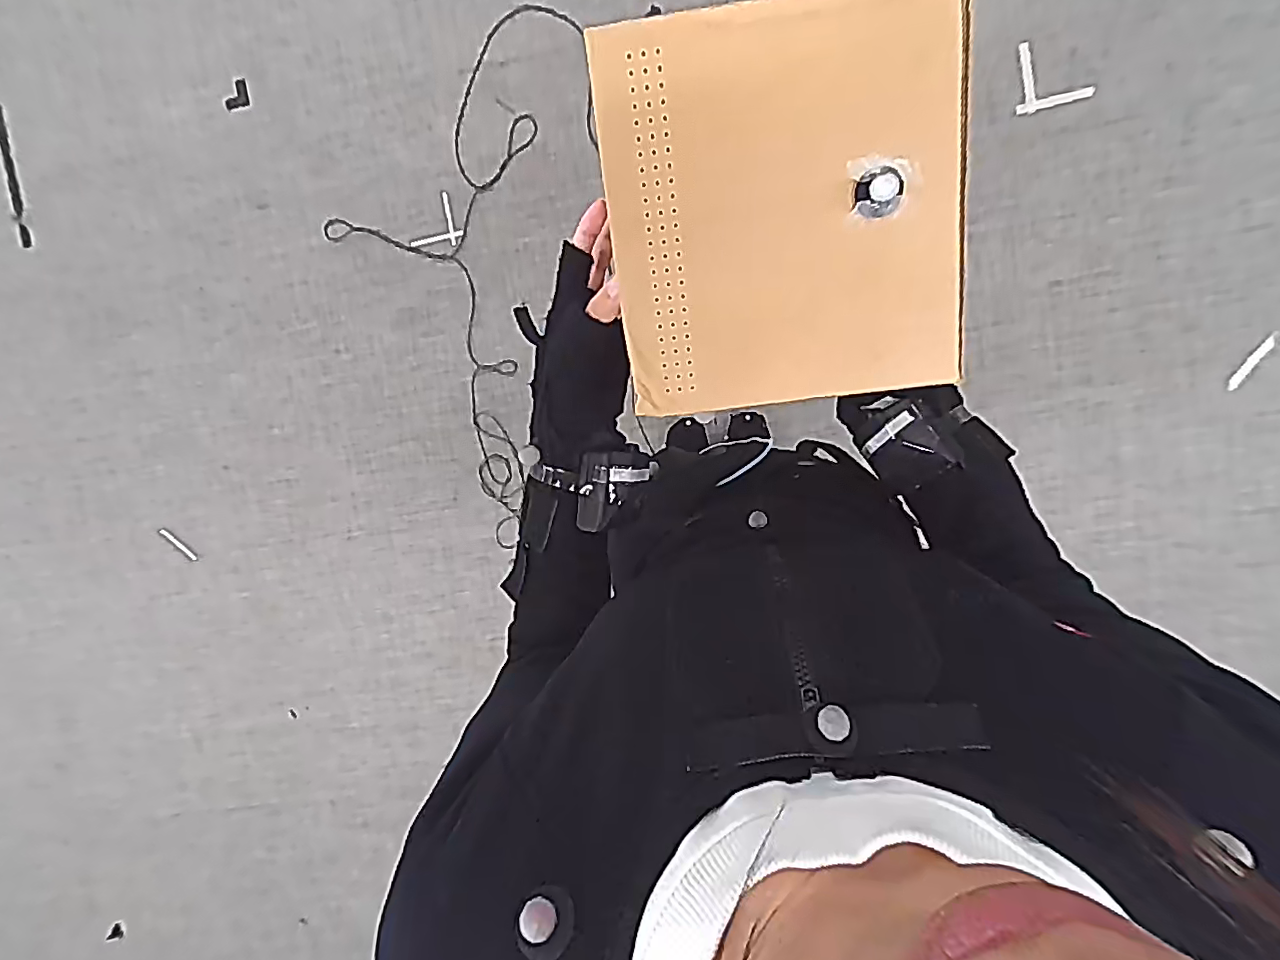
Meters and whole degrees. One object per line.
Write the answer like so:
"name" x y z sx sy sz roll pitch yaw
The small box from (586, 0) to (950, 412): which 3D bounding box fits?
"small box" 0.067 -0.149 0.341 0.176 0.168 0.179 -6 105 5
